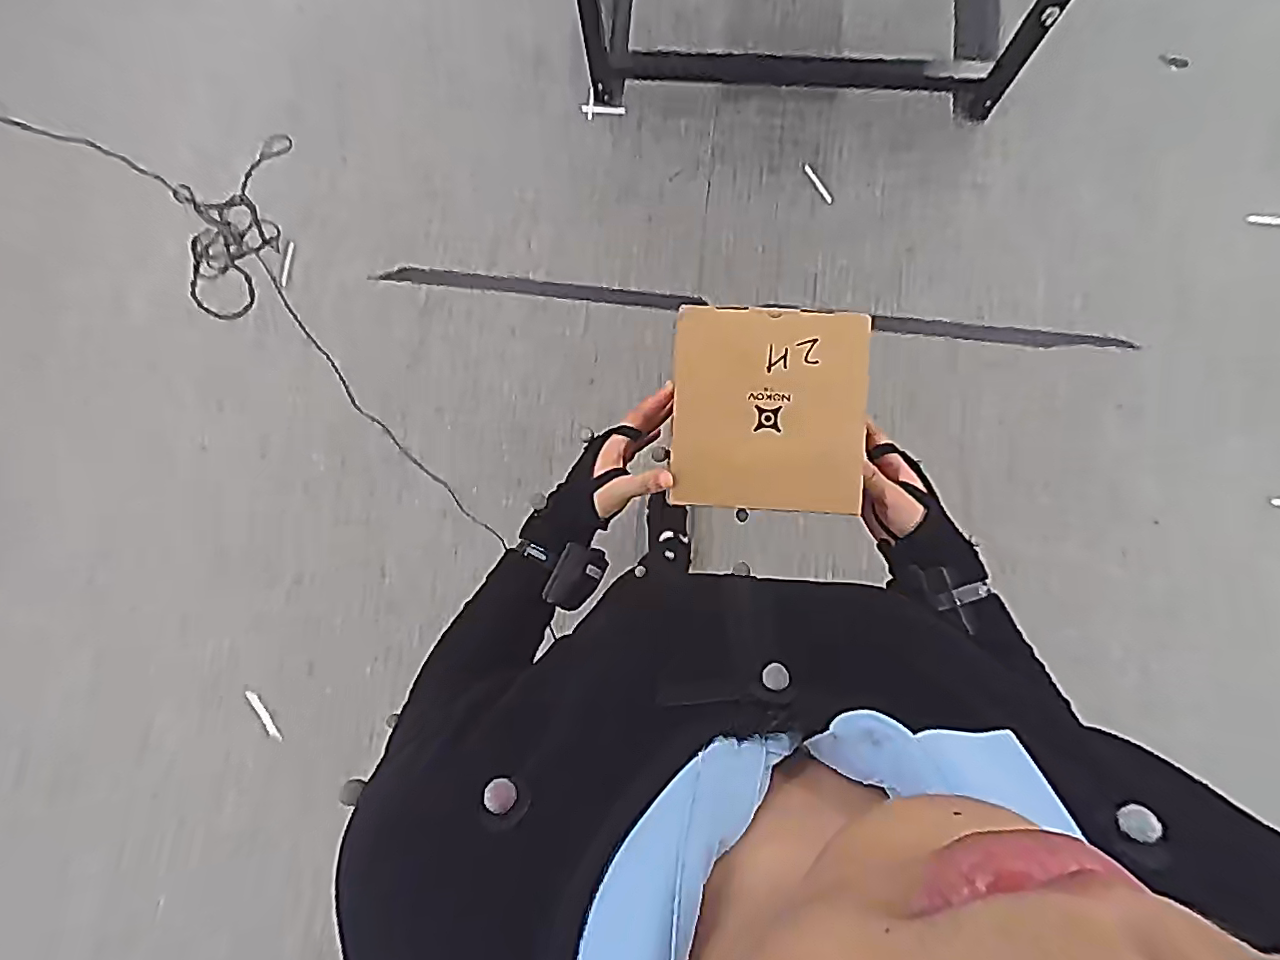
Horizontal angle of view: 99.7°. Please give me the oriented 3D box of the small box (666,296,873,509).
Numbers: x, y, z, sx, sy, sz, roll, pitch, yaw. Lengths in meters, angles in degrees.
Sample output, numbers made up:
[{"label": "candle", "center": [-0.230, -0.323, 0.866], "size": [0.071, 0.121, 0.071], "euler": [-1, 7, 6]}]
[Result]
[{"label": "small box", "center": [0.114, -0.065, 0.540], "size": [0.168, 0.176, 0.179], "euler": [4, 88, 2]}]
